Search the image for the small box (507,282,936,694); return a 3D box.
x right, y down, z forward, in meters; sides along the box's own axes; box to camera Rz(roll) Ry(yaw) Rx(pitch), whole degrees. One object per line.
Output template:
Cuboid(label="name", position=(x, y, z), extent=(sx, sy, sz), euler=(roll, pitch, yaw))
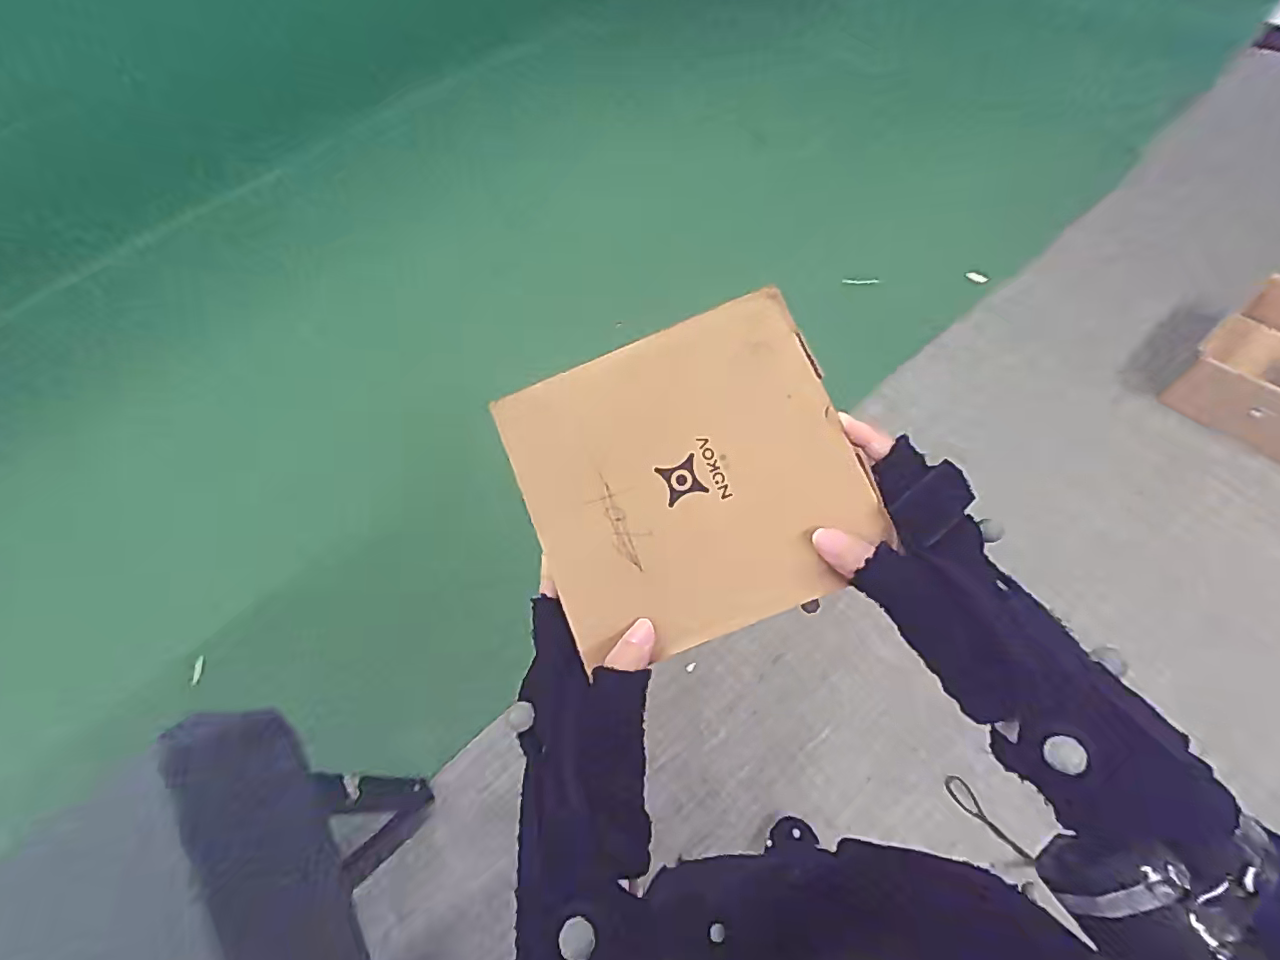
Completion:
Cuboid(label="small box", position=(0.043, 0.011, 0.358), extent=(0.179, 0.176, 0.168), euler=(-26, 78, 1))

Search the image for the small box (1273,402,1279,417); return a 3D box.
Cuboid(label="small box", position=(1.747, -0.213, 1.326), extent=(0.168, 0.176, 0.179), euler=(-41, 62, -17))
